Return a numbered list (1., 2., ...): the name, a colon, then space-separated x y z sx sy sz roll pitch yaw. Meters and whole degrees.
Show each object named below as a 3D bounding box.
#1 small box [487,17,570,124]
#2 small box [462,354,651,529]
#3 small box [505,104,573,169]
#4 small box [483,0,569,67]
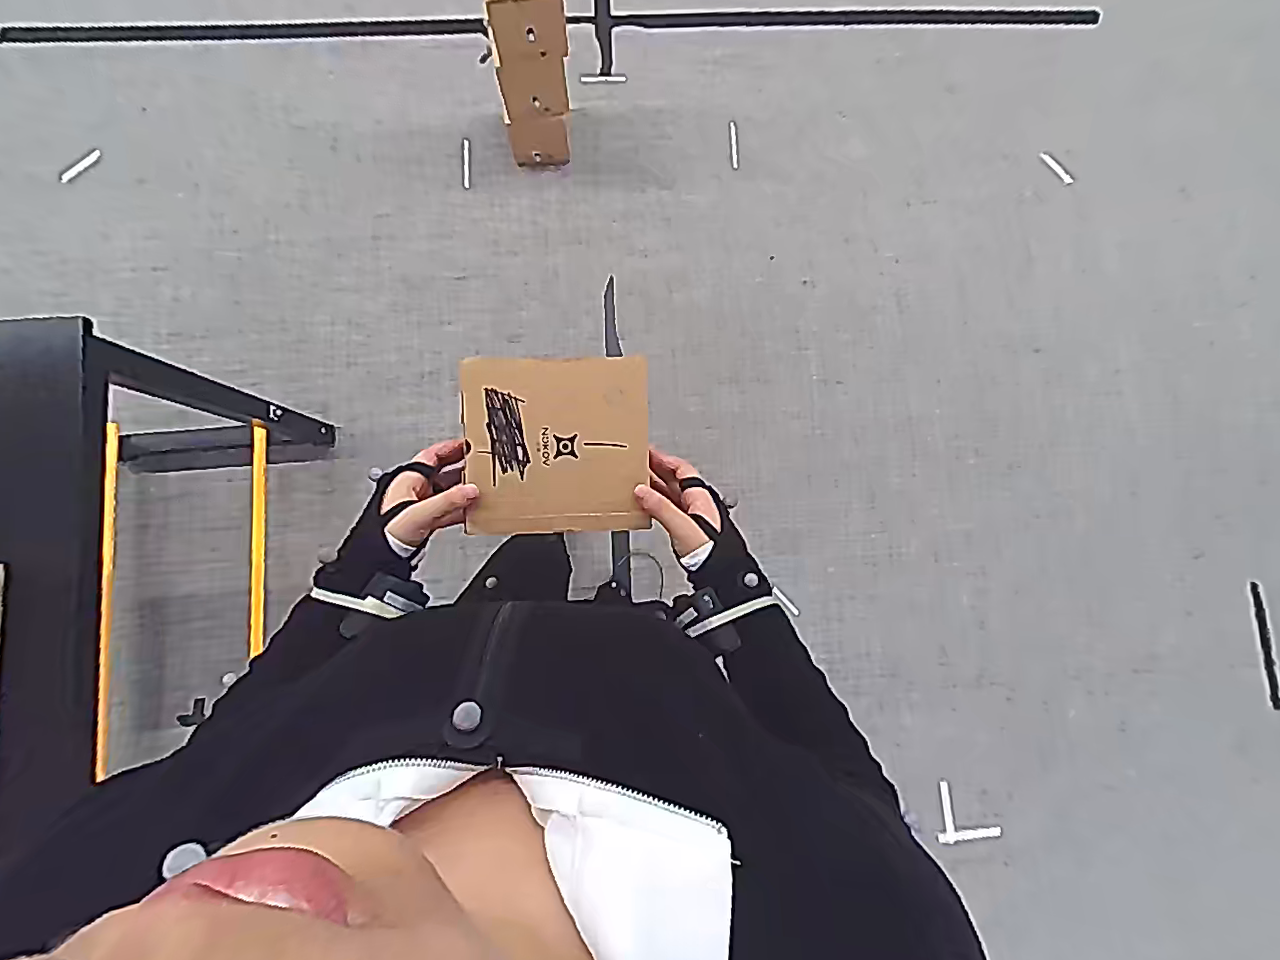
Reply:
1. small box: -0.278 -1.052 1.370 0.168 0.176 0.179 -11 84 -2
2. small box: -0.081 -0.036 0.584 0.179 0.176 0.168 -2 91 -4
3. small box: -0.286 -1.021 1.533 0.168 0.176 0.179 -6 85 -2
4. small box: -0.260 -1.067 1.208 0.168 0.176 0.179 -13 85 -3
